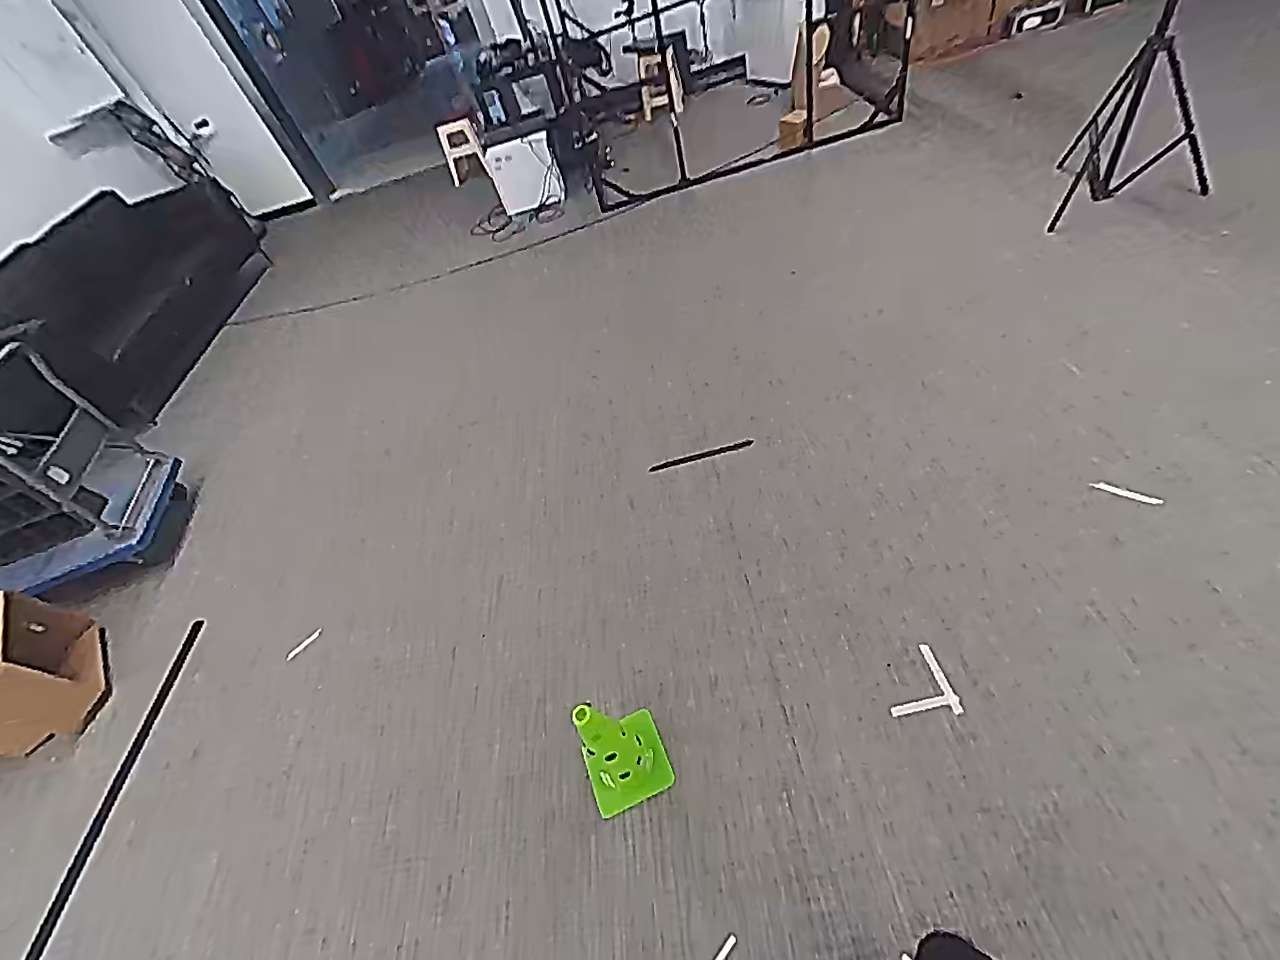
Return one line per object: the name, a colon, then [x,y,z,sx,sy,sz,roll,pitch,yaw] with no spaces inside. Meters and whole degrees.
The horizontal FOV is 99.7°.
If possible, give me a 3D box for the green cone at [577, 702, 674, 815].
green cone: [-0.074,0.596,1.240,0.202,0.368,0.200,-25,47,-5]
